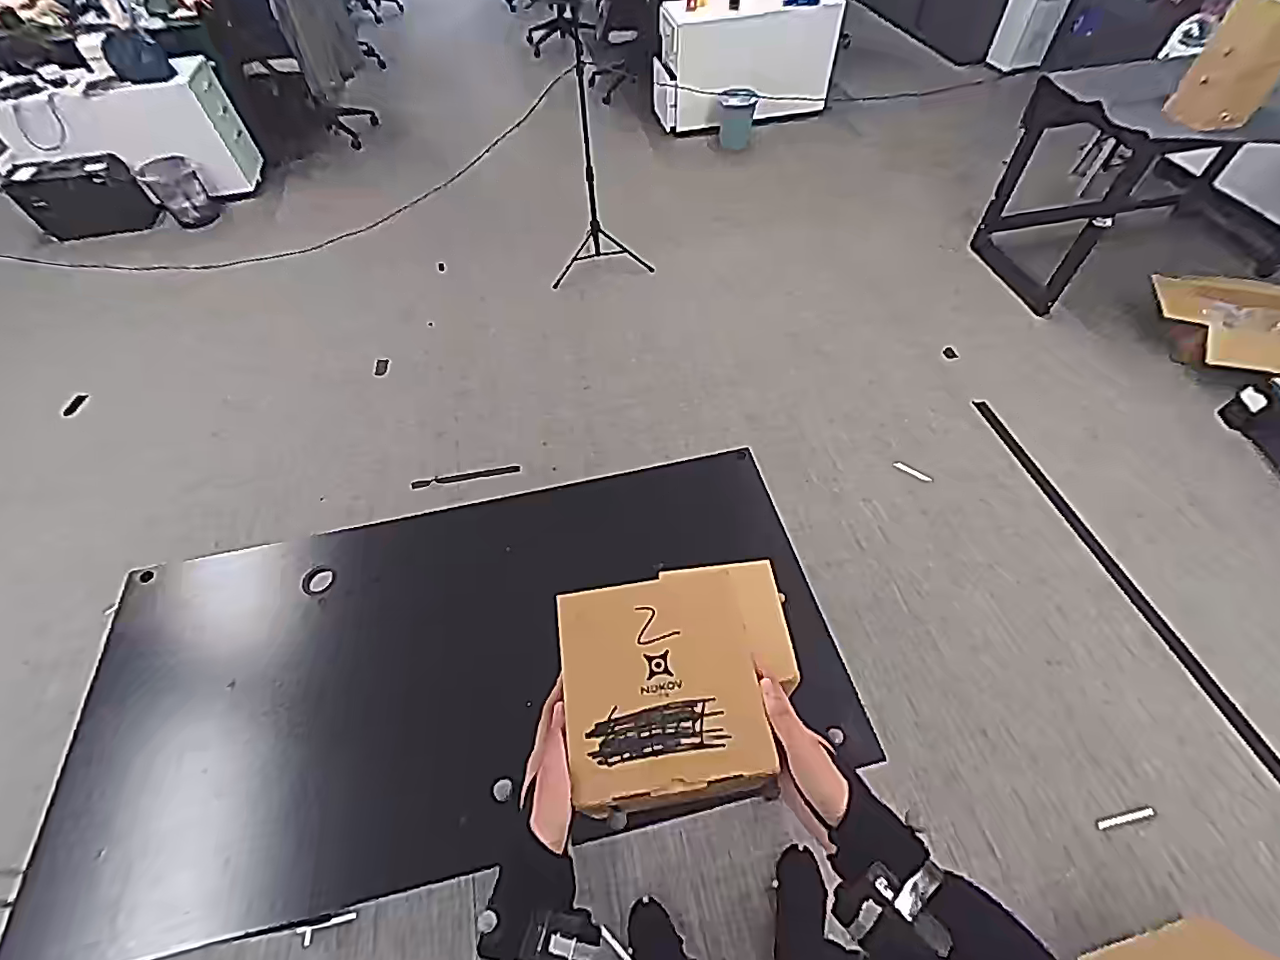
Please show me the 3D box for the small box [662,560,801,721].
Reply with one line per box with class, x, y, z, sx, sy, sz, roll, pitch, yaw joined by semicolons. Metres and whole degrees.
small box;0.122;0.240;0.802;0.168;0.176;0.179;-6;55;0
